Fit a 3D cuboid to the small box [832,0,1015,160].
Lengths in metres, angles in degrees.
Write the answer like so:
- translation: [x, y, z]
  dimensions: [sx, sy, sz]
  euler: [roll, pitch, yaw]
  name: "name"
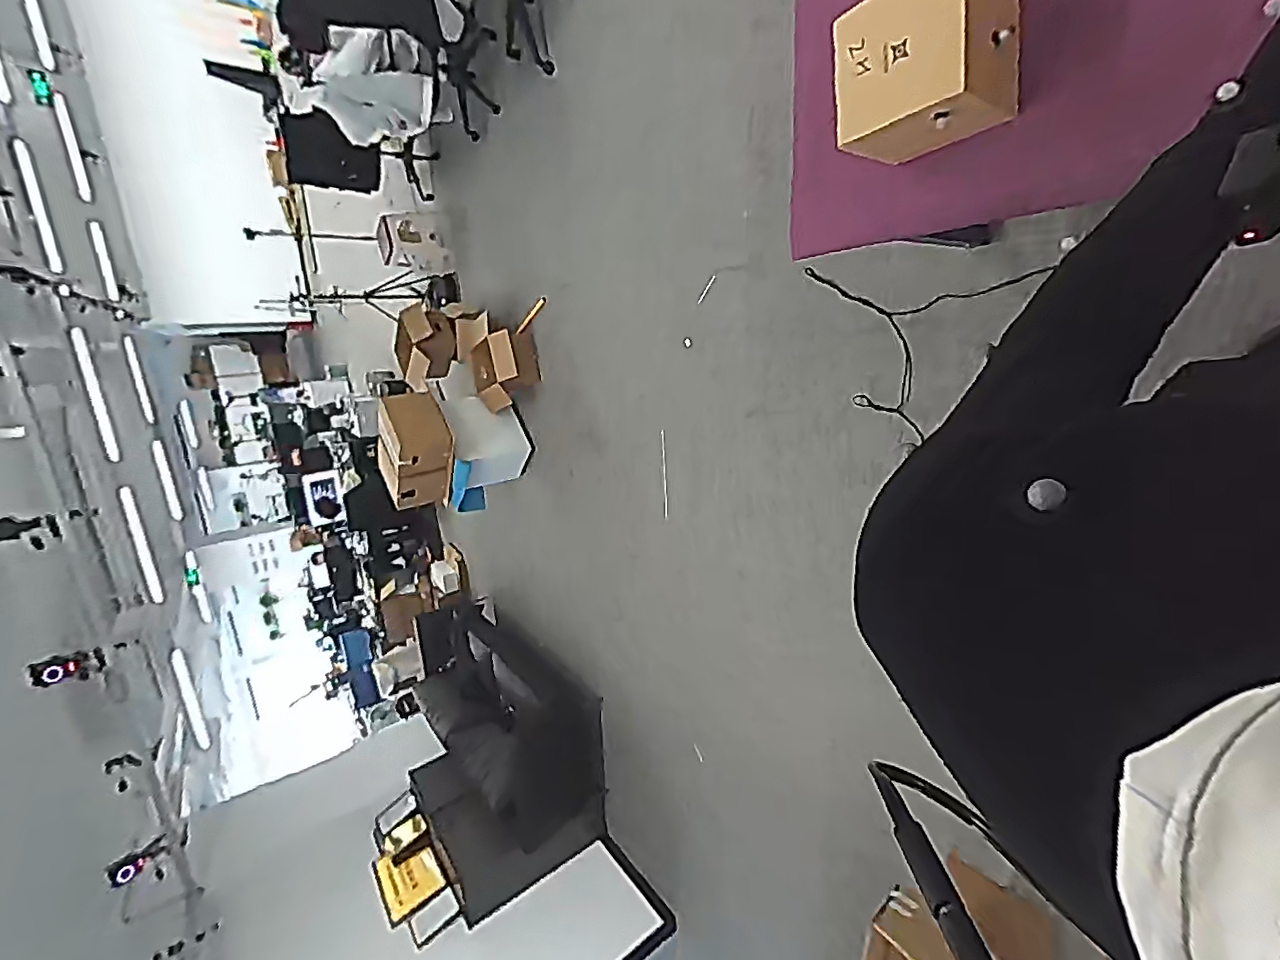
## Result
- translation: [0.393, -0.573, 0.752]
  dimensions: [0.179, 0.176, 0.168]
  euler: [9, 108, 52]
  name: "small box"
